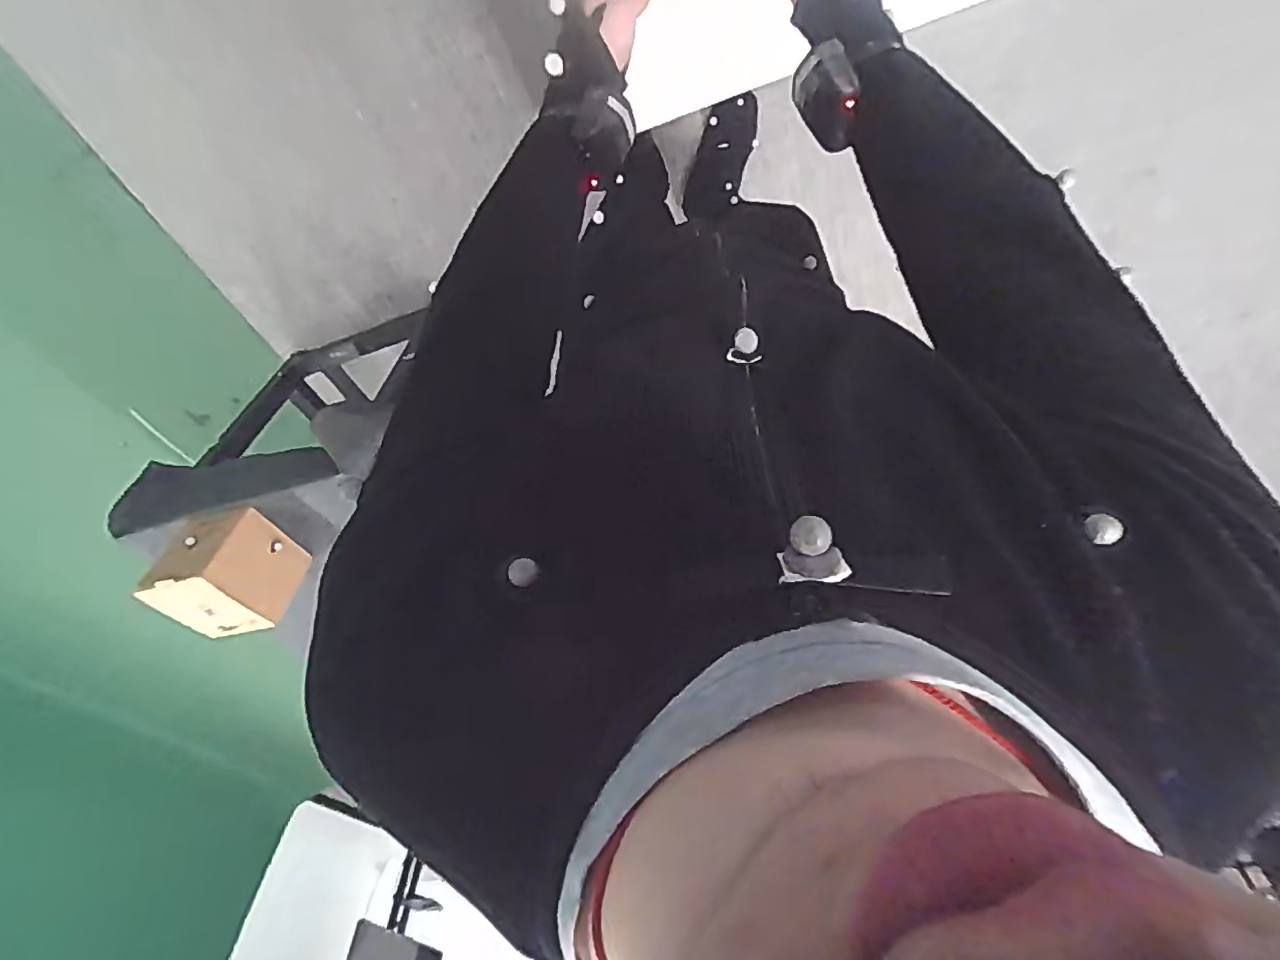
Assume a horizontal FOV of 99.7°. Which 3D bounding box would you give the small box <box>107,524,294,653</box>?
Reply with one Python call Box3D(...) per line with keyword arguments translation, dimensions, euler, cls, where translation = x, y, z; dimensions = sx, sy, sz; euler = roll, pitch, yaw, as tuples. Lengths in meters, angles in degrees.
Box3D(translation=(-0.810, 0.198, 1.018), dimensions=(0.168, 0.176, 0.179), euler=(-12, 132, 12), cls="small box")
